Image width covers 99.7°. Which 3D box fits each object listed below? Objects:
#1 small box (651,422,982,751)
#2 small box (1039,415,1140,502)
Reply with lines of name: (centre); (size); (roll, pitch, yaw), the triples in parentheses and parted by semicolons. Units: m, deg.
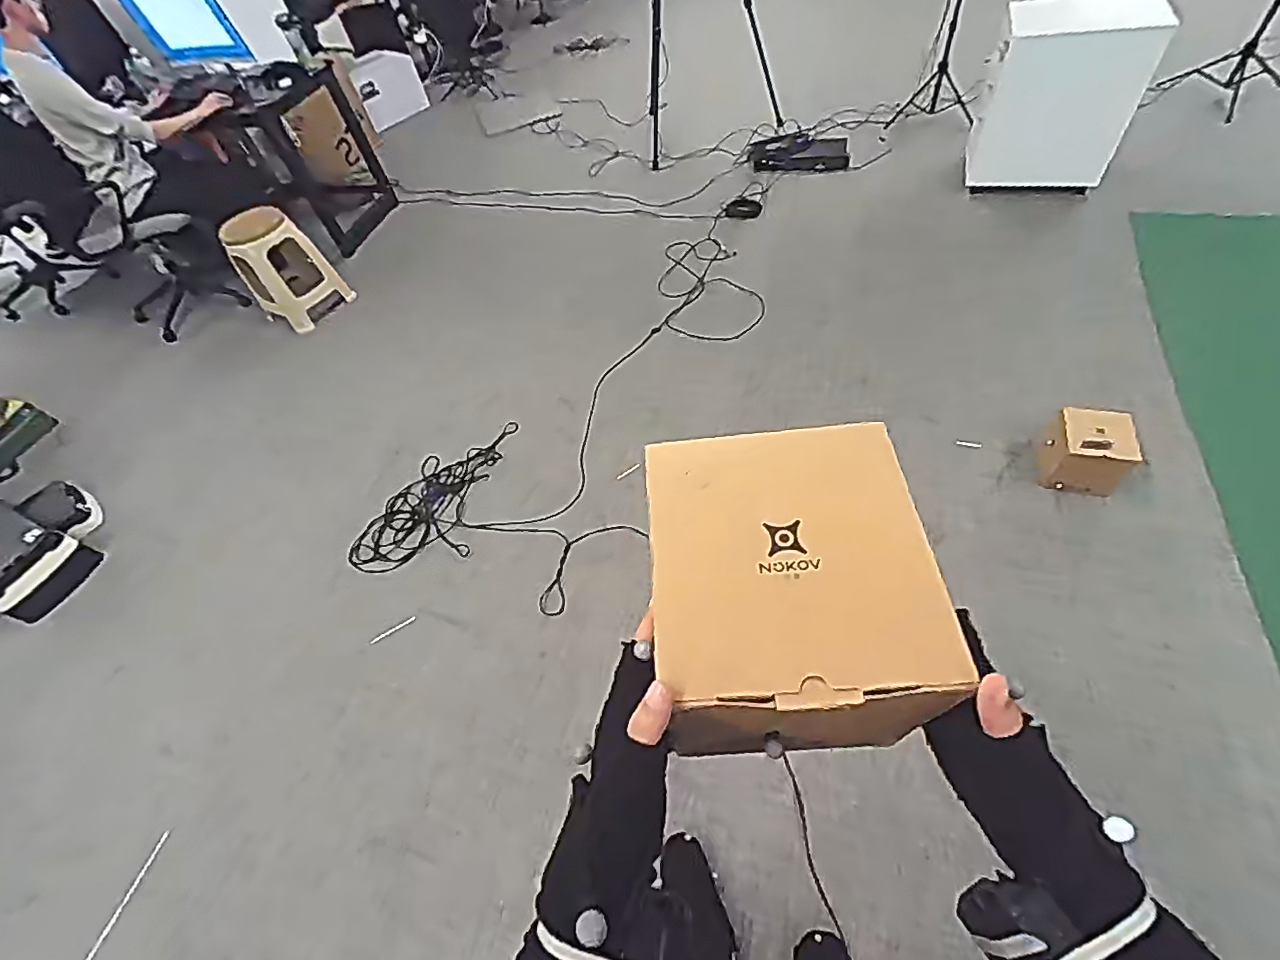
small box: (0.098, 0.083, 0.391); (0.168, 0.176, 0.179); (-6, 55, 4)
small box: (1.278, -0.058, 1.551); (0.168, 0.176, 0.179); (10, 56, 17)
